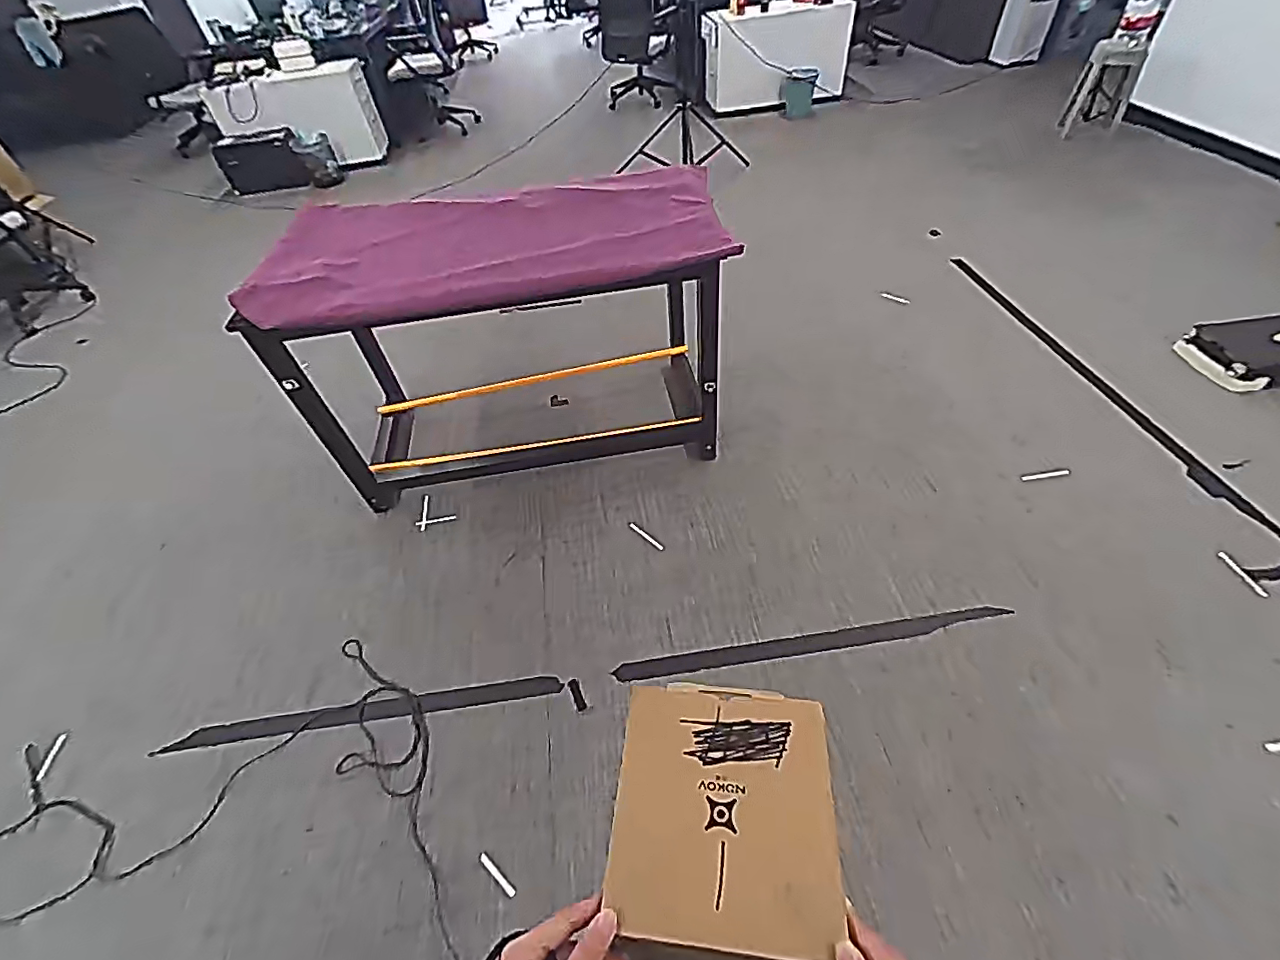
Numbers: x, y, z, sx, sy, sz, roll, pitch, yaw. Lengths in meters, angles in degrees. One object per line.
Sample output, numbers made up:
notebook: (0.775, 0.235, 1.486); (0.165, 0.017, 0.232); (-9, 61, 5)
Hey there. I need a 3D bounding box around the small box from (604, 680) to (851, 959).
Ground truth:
small box: (0.072, 0.302, 0.469); (0.168, 0.176, 0.179); (1, 42, 9)
